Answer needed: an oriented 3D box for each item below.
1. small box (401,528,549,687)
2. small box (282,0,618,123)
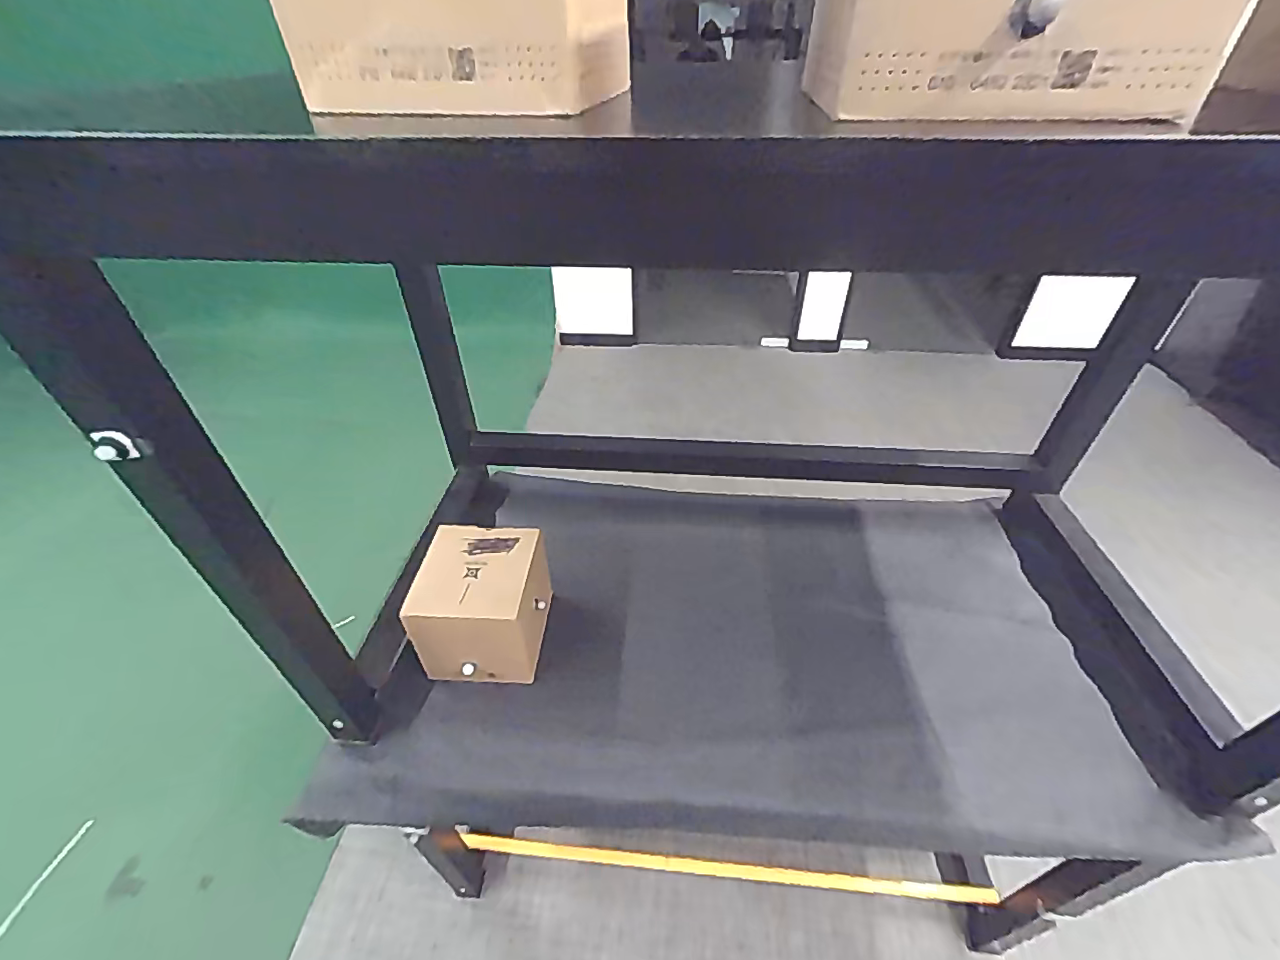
[{"bbox_3d":[-0.241,0.196,0.845,0.168,0.176,0.179,1,40,3],"label":"small box"},{"bbox_3d":[-0.109,-0.327,0.333,0.168,0.176,0.179,5,39,8],"label":"small box"}]
